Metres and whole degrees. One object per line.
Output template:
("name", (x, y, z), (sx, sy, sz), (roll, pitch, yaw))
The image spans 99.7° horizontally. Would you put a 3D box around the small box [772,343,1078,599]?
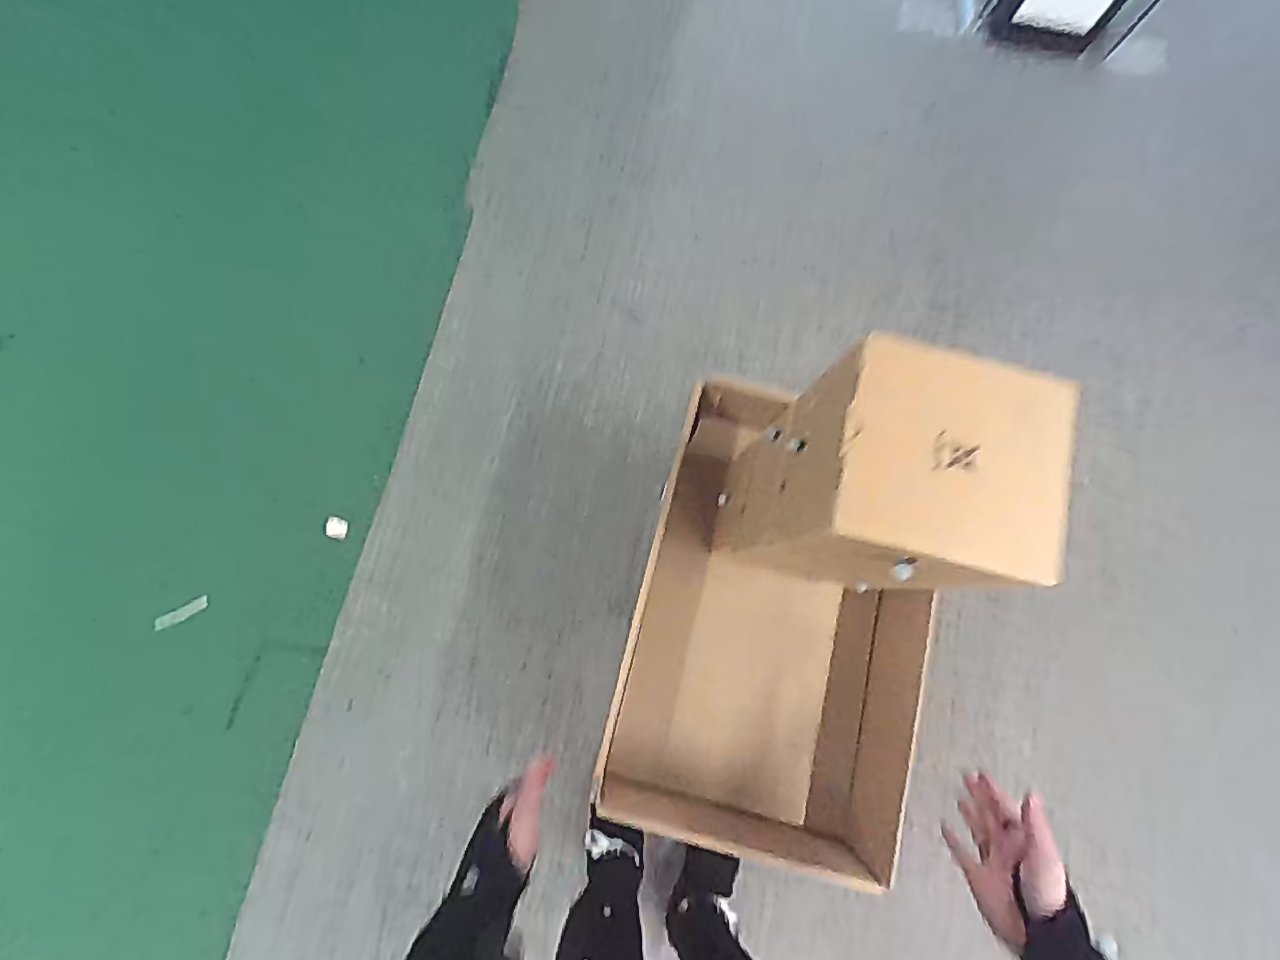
("small box", (0.241, 0.003, 0.493), (0.179, 0.176, 0.168), (14, 78, 0))
